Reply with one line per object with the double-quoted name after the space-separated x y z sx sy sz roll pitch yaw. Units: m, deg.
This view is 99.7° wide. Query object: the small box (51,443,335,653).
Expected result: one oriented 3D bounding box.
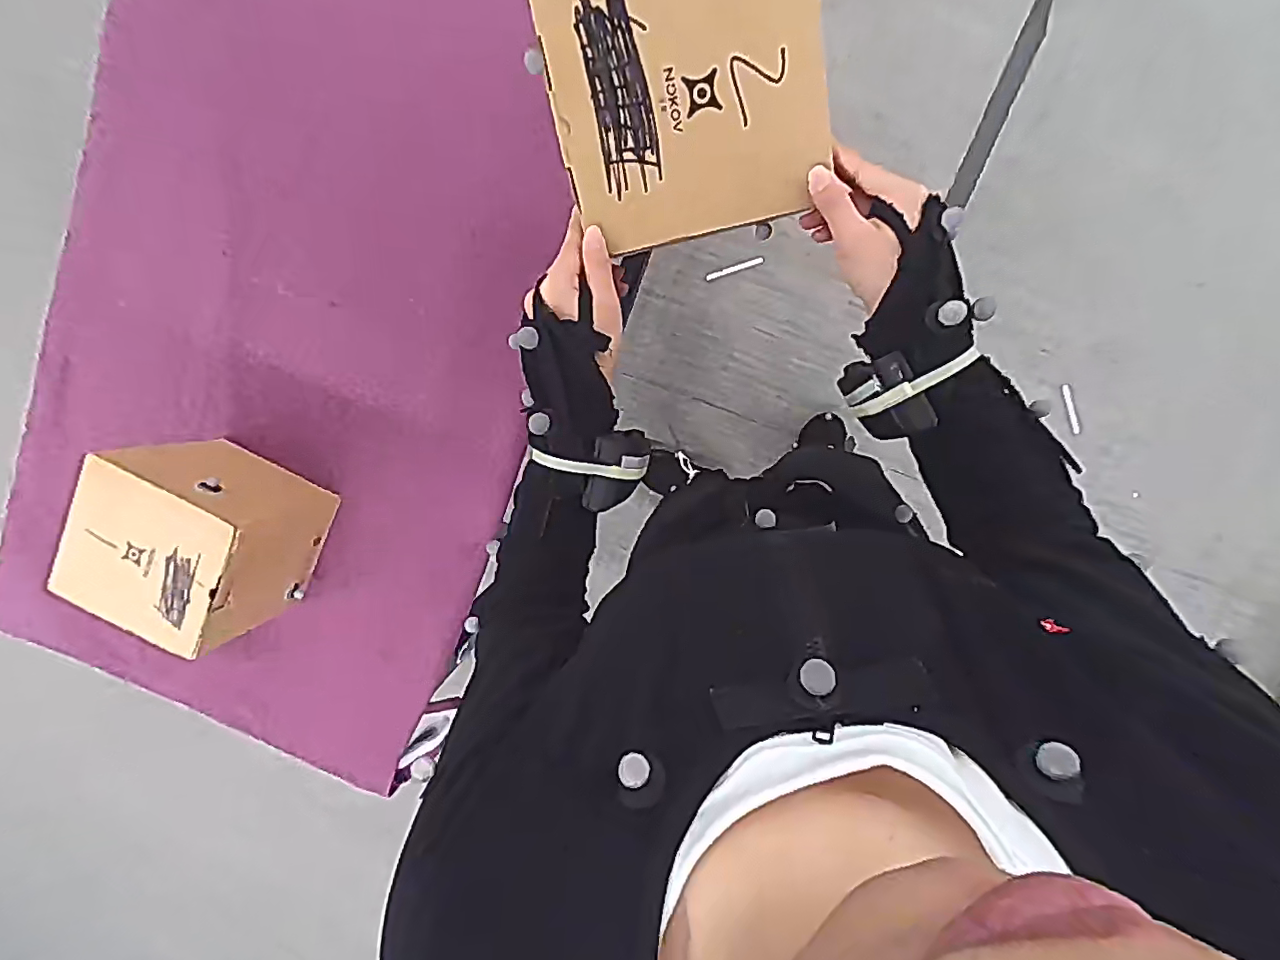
-0.505 0.064 0.637 0.179 0.176 0.168 26 99 1 "small box"
